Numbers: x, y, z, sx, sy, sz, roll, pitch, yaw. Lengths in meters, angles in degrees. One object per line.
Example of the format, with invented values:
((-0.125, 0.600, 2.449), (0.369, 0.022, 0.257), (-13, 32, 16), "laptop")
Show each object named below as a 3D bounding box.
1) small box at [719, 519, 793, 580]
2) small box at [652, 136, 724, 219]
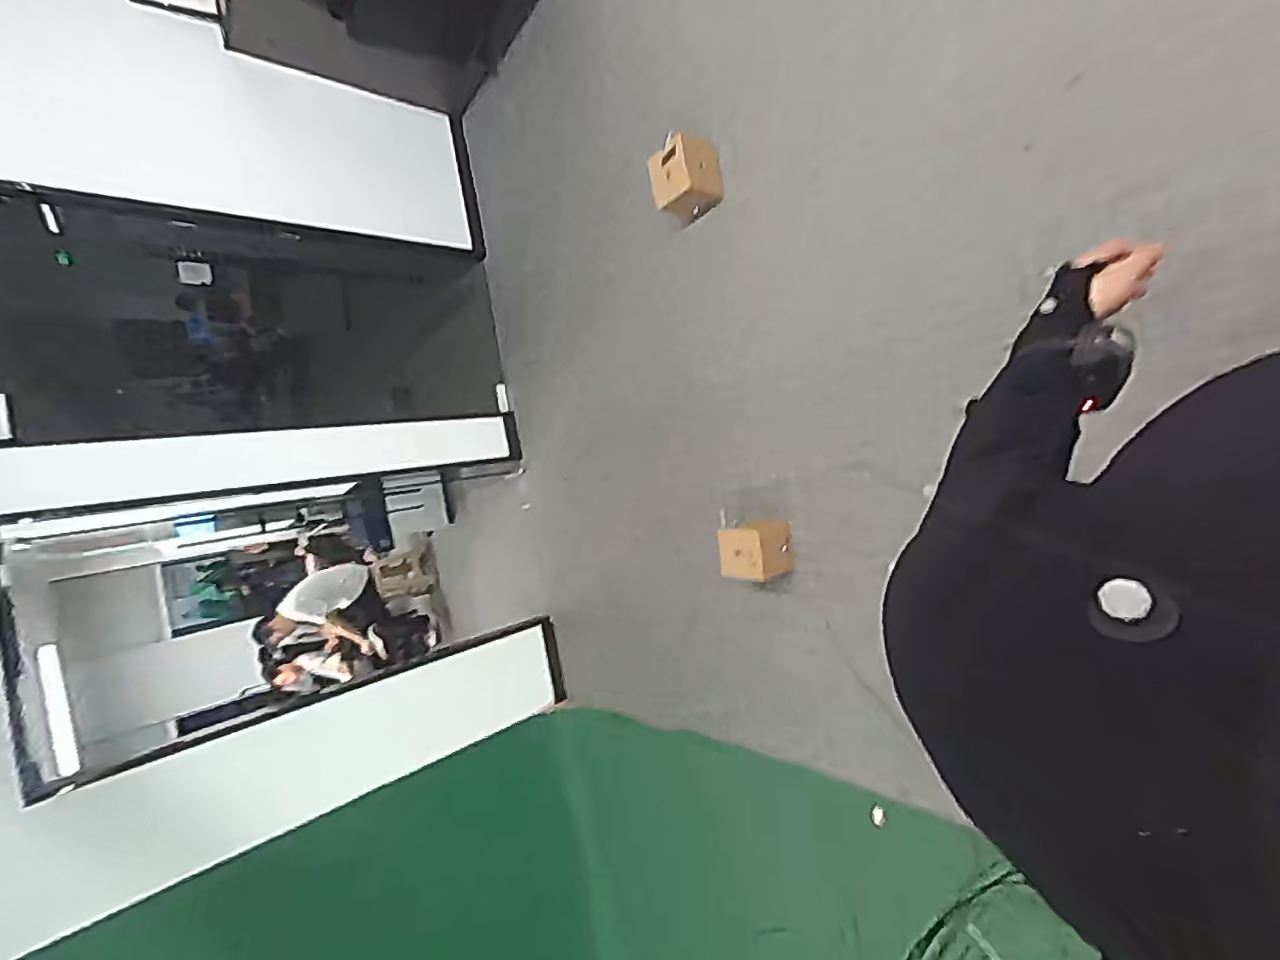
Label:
((0.391, 0.228, 1.817), (0.179, 0.176, 0.168), (-2, 96, 50), "small box")
((0.166, -1.022, 1.842), (0.168, 0.176, 0.179), (-9, 91, 50), "small box")
